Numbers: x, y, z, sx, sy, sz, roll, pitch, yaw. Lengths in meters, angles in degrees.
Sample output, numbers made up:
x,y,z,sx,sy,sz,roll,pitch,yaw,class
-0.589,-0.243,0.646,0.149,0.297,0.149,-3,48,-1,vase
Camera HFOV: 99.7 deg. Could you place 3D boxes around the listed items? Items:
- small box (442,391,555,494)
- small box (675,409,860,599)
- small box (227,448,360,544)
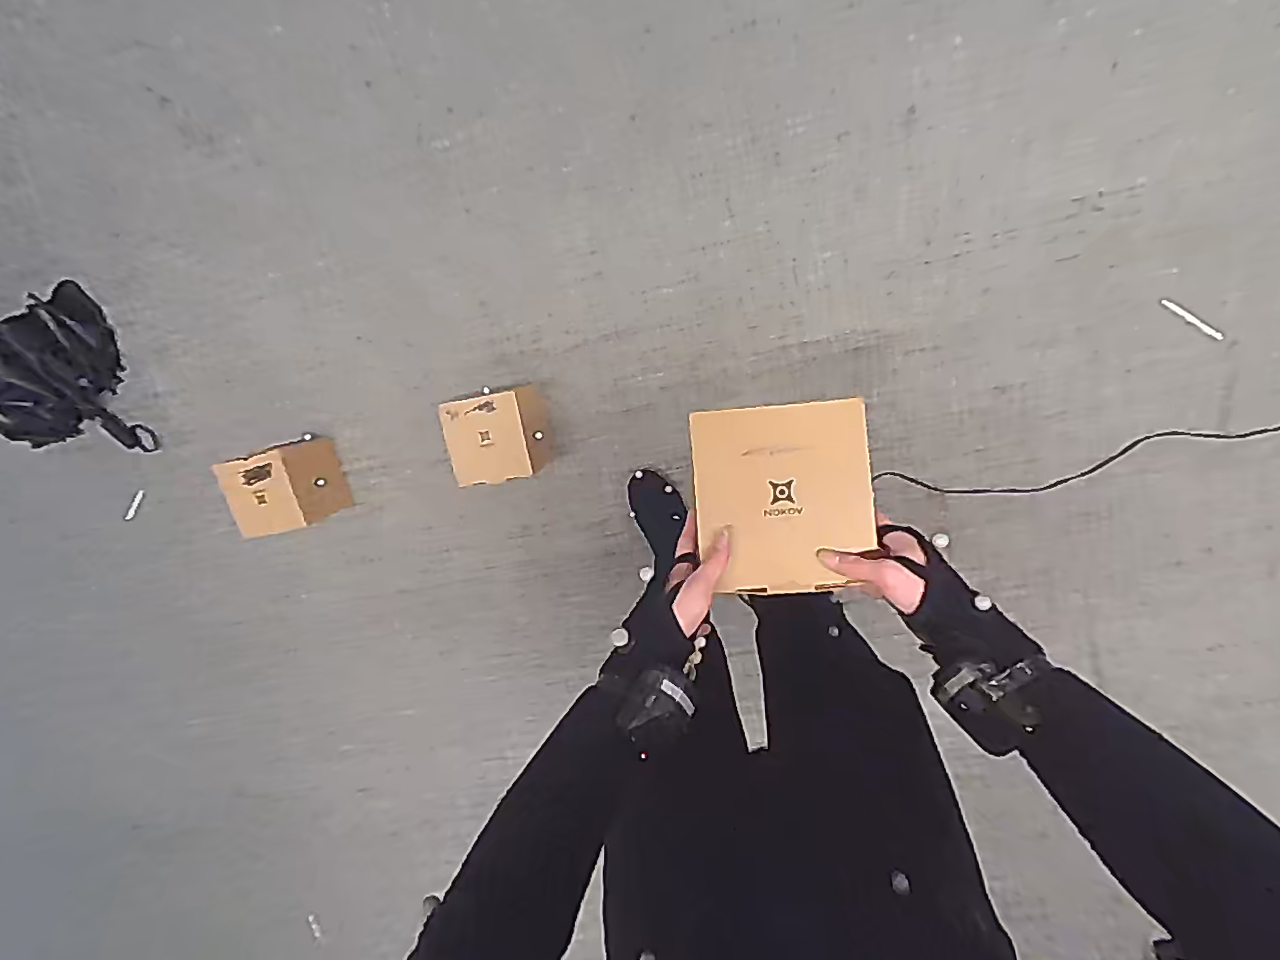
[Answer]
x,y,z,sx,sy,sz,roll,pitch,yaw,class
-0.295,-0.086,1.174,0.168,0.176,0.179,-9,104,9,small box
0.132,0.027,0.606,0.168,0.176,0.179,-6,86,5,small box
-0.798,0.029,1.263,0.168,0.176,0.179,-11,104,10,small box
